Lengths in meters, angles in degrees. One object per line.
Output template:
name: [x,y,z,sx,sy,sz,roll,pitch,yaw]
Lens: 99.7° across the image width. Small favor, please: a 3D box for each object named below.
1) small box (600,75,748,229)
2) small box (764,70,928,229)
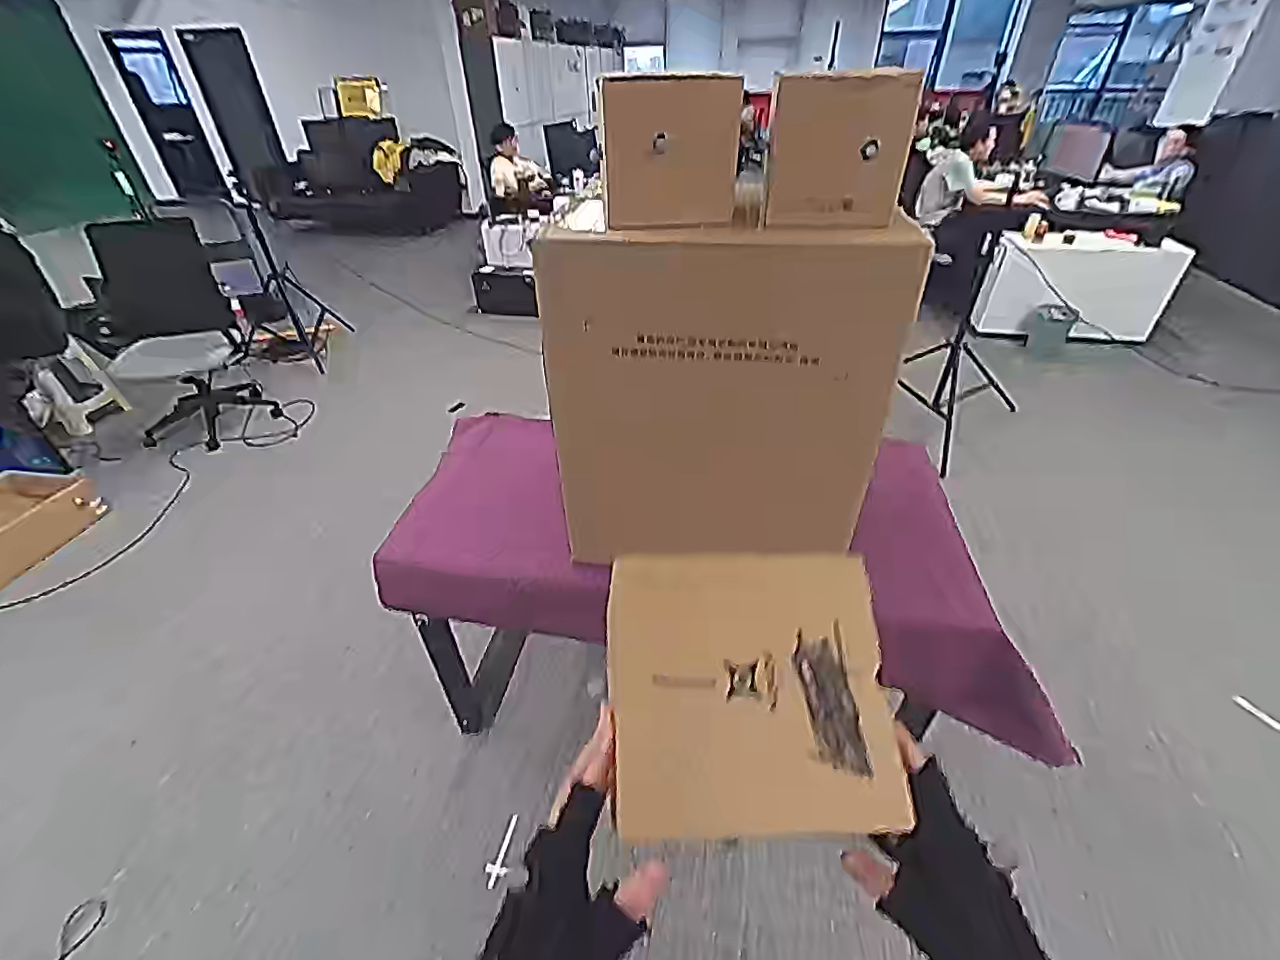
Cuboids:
small box: [0.040,-0.459,0.755,0.179,0.176,0.168,-4,38,-4]
small box: [0.263,-0.449,0.736,0.168,0.176,0.179,5,37,7]
